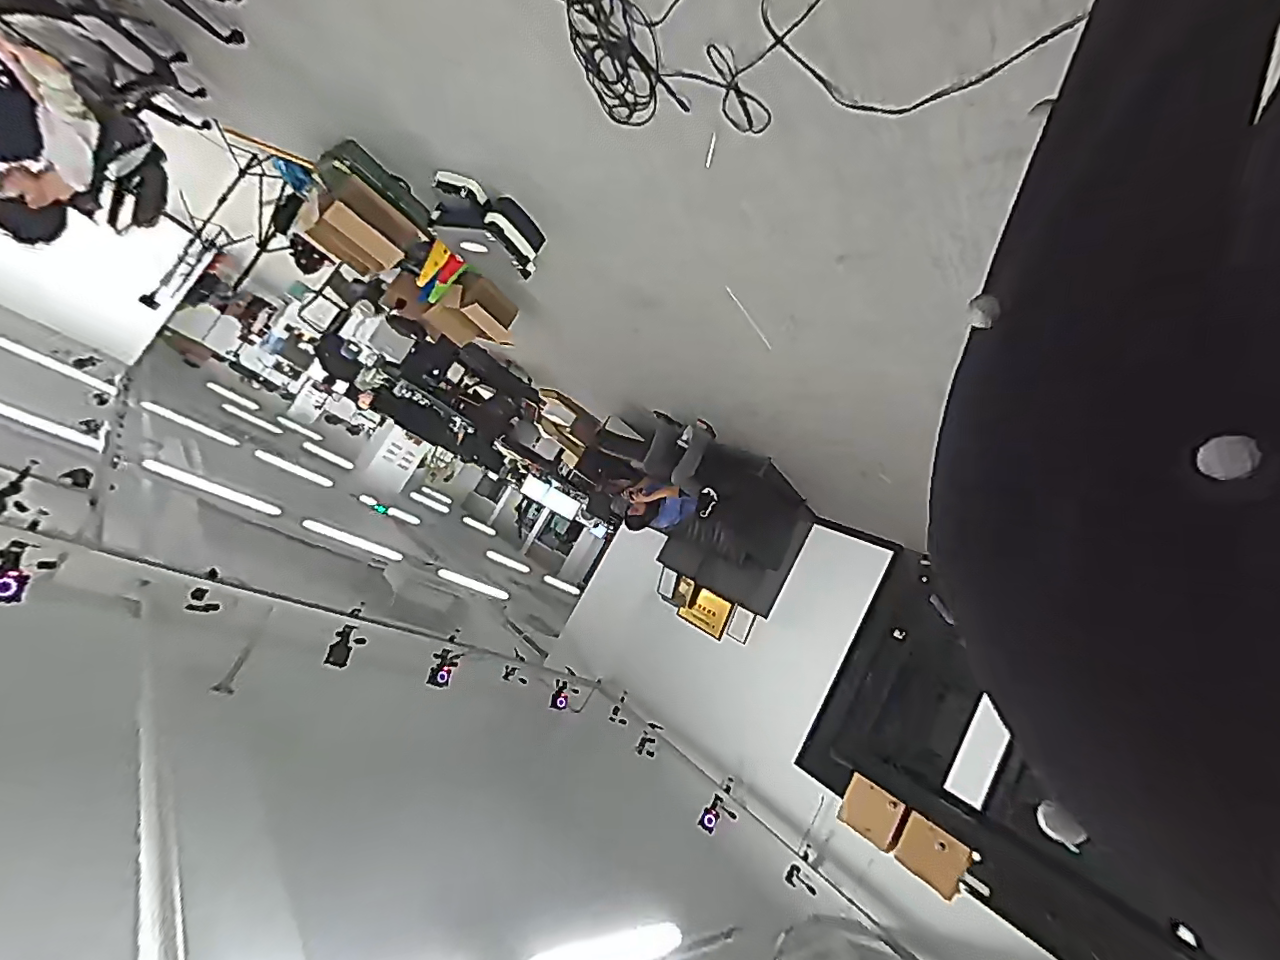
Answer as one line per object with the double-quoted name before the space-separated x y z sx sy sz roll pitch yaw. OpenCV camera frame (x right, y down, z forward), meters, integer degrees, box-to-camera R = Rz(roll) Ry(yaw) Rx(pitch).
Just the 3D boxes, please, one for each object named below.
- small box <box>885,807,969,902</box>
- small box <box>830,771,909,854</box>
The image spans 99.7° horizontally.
"small box" 0.877 1.125 1.641 0.168 0.176 0.179 23 169 42
"small box" 0.754 1.078 1.767 0.168 0.176 0.179 22 170 42
